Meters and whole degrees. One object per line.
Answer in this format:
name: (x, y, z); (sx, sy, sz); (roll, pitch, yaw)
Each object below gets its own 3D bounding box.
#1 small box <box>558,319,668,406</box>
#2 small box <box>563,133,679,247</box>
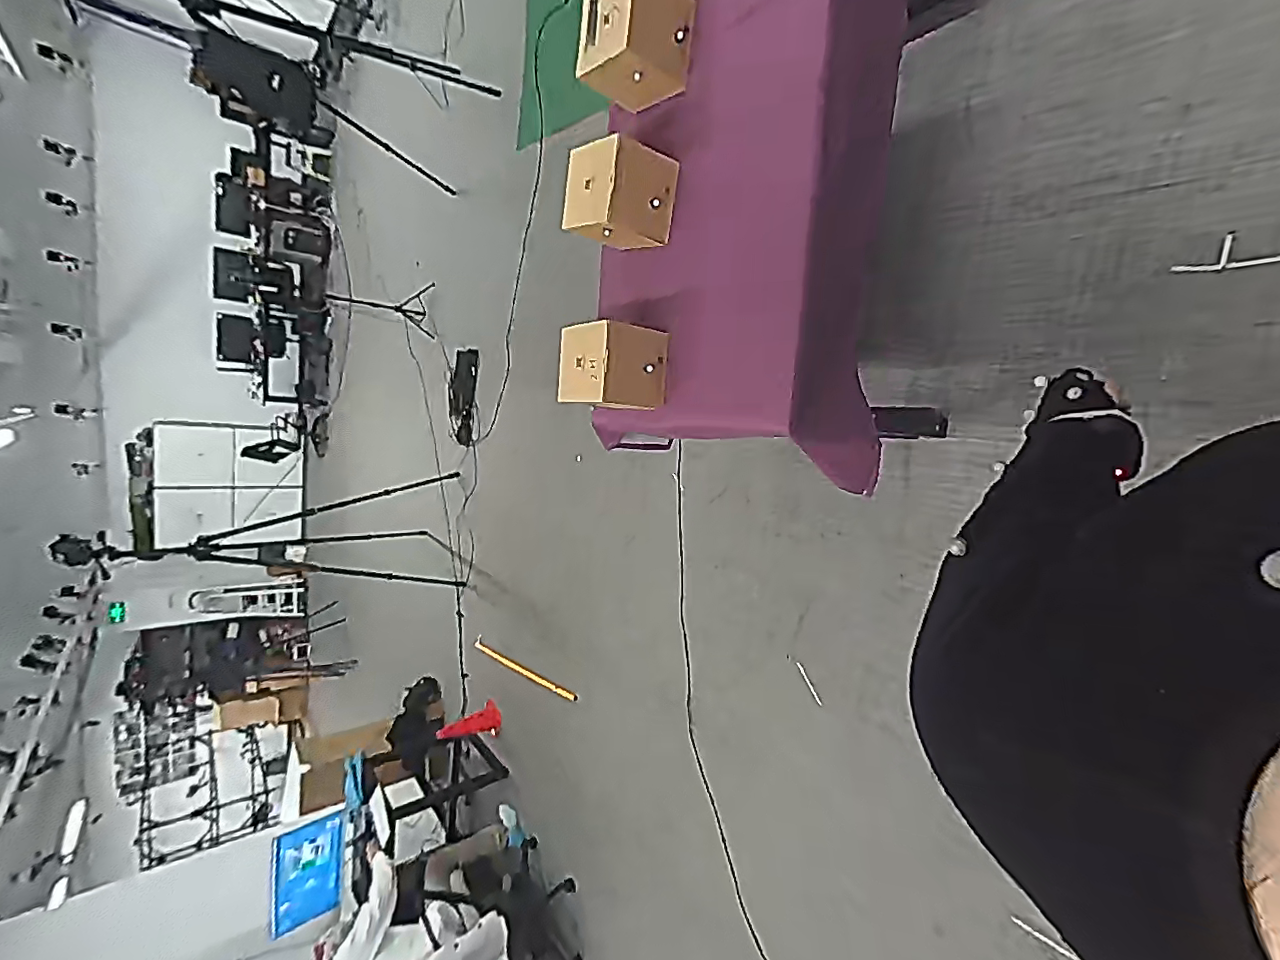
small box: (-0.061, -0.253, 1.202); (0.179, 0.176, 0.168); (11, 98, 49)
small box: (-0.042, -0.620, 1.182); (0.179, 0.176, 0.168); (21, 106, 46)
